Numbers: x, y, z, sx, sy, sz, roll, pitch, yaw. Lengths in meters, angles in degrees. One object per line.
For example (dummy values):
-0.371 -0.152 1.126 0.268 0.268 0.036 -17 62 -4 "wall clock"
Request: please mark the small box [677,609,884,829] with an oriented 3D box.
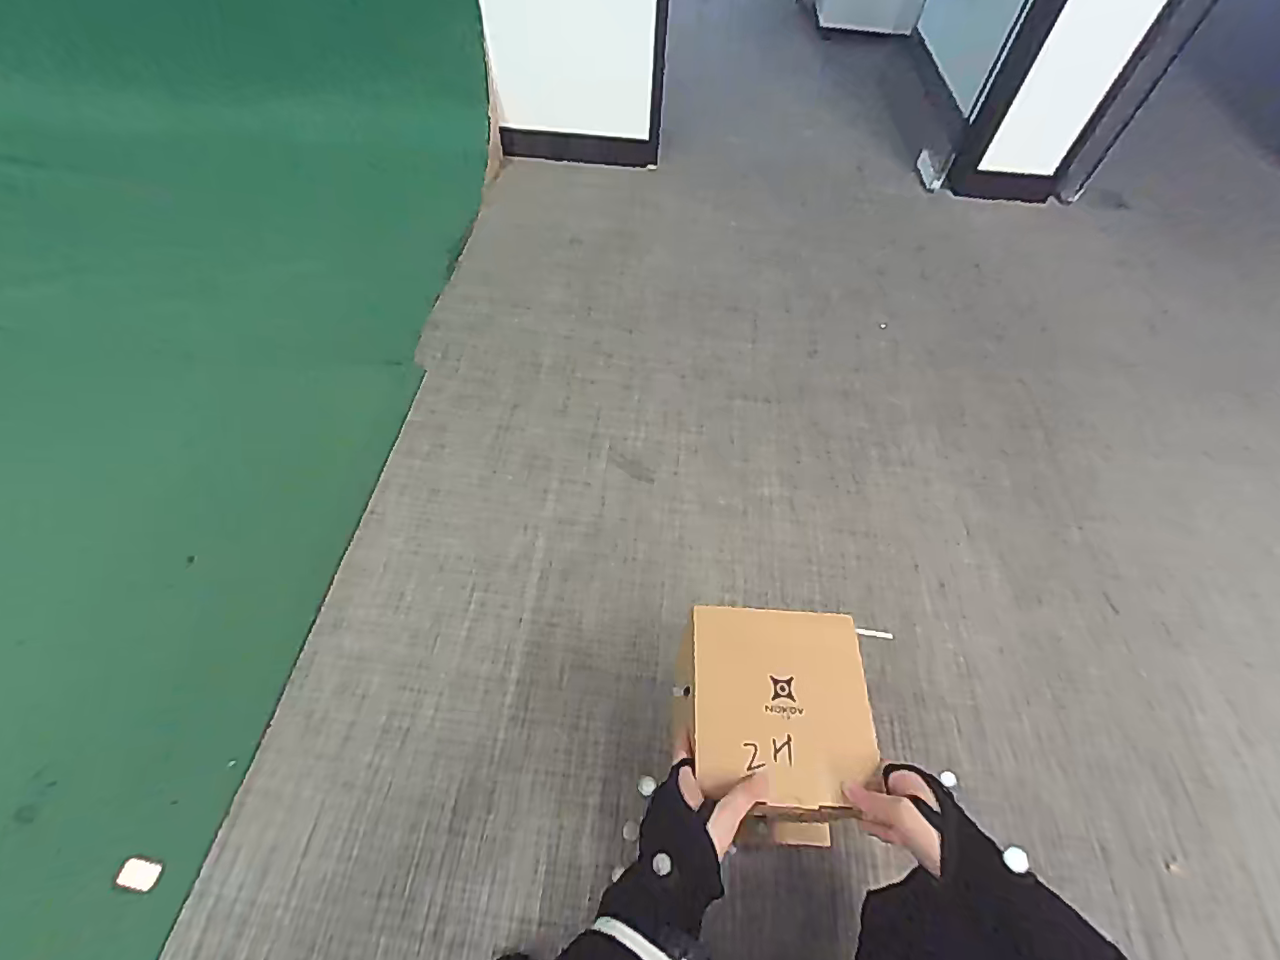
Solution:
0.128 0.255 0.570 0.168 0.176 0.179 3 55 1 "small box"
